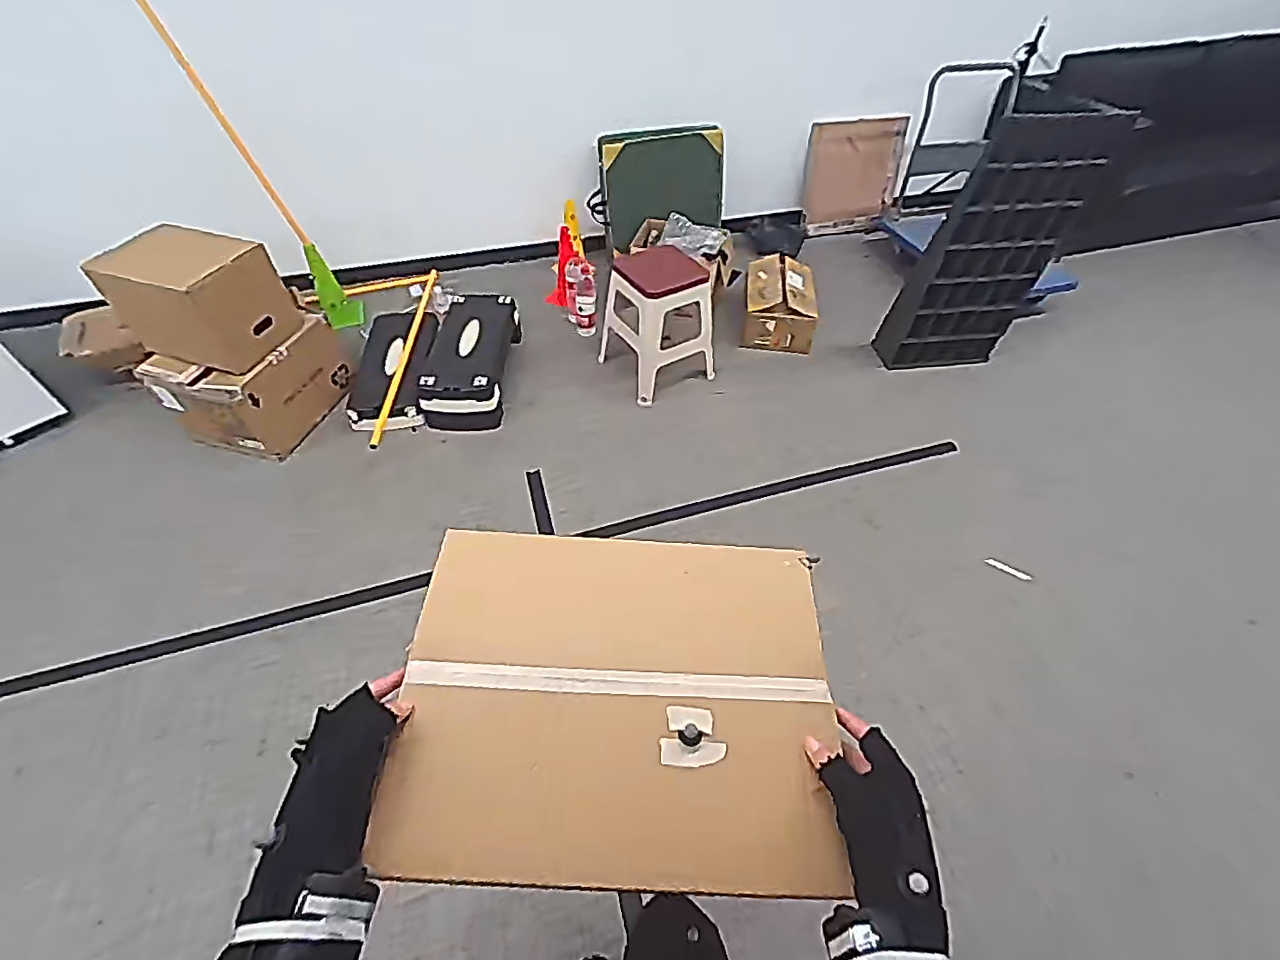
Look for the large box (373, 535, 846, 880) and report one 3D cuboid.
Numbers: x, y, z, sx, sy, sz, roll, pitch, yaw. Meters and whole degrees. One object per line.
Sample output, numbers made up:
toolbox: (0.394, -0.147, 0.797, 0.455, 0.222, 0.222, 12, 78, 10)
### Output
large box: (-0.028, 0.284, 0.653, 0.408, 0.320, 0.320, 4, 54, -1)
